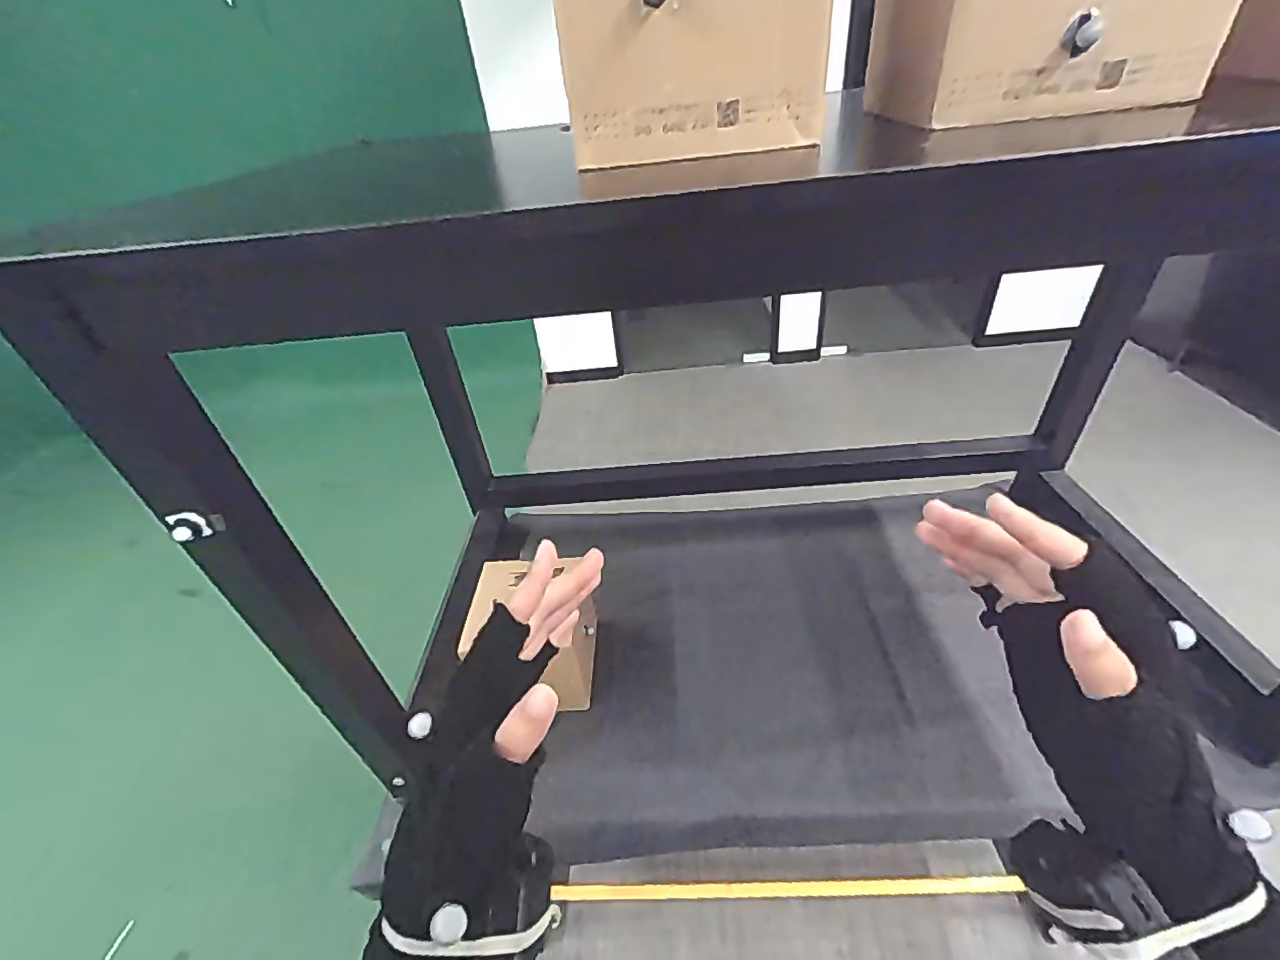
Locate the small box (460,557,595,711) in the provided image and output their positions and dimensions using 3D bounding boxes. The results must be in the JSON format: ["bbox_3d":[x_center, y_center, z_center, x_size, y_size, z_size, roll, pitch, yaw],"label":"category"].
[{"bbox_3d":[-0.168,0.248,0.875,0.168,0.176,0.179,-4,37,3],"label":"small box"}]

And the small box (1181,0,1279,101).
[{"bbox_3d":[0.515,-0.348,0.338,0.168,0.176,0.179,3,37,13],"label":"small box"}]

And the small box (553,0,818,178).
[{"bbox_3d":[0.032,-0.330,0.398,0.168,0.176,0.179,-4,37,4],"label":"small box"}]
